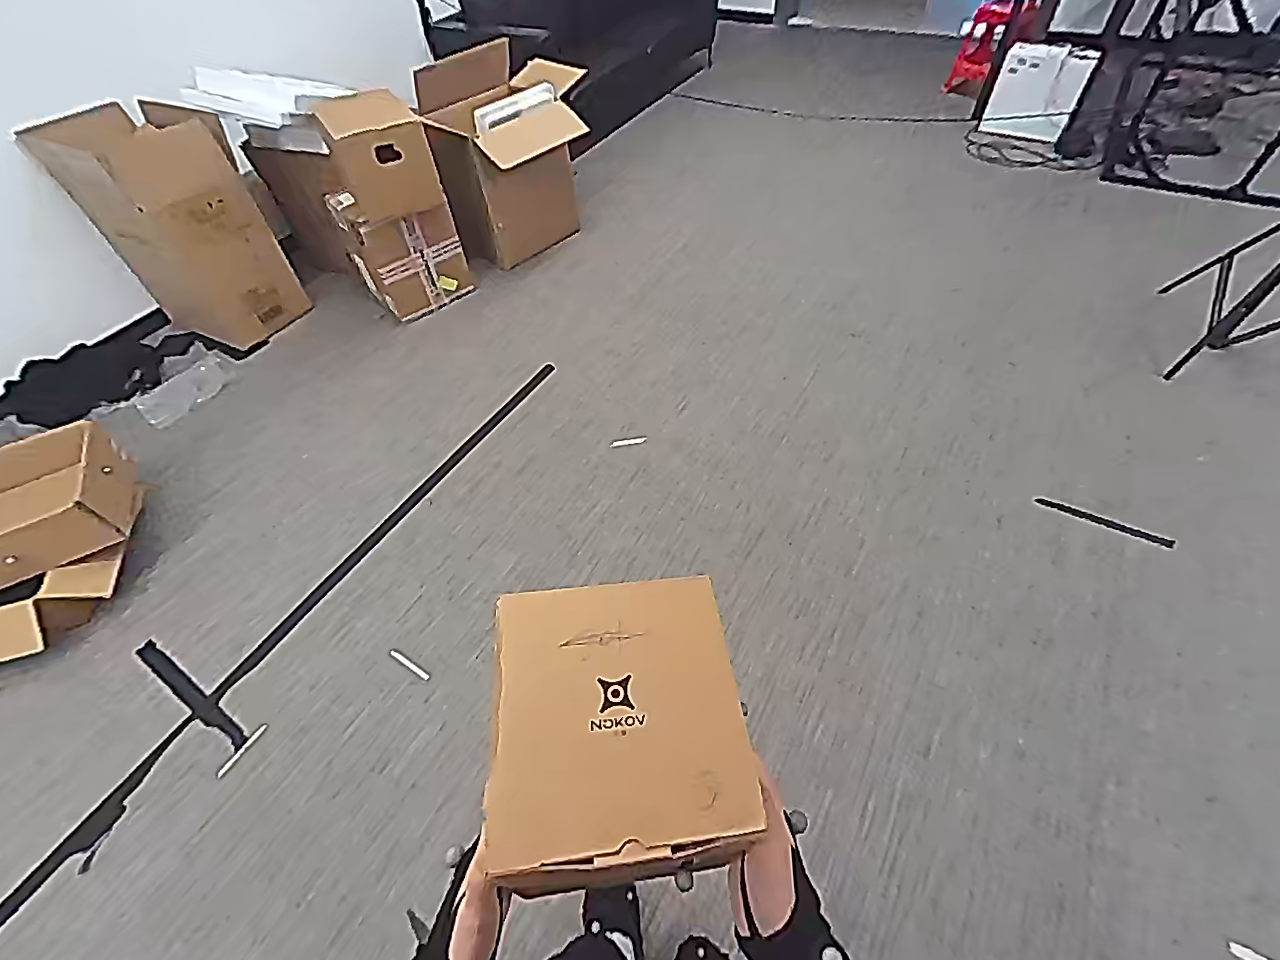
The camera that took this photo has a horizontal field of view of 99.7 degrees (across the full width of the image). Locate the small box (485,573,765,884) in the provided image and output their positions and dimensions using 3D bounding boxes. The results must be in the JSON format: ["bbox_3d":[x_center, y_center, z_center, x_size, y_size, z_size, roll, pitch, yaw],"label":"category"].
[{"bbox_3d":[-0.019,0.196,0.420,0.168,0.176,0.179,-4,49,-7],"label":"small box"}]
